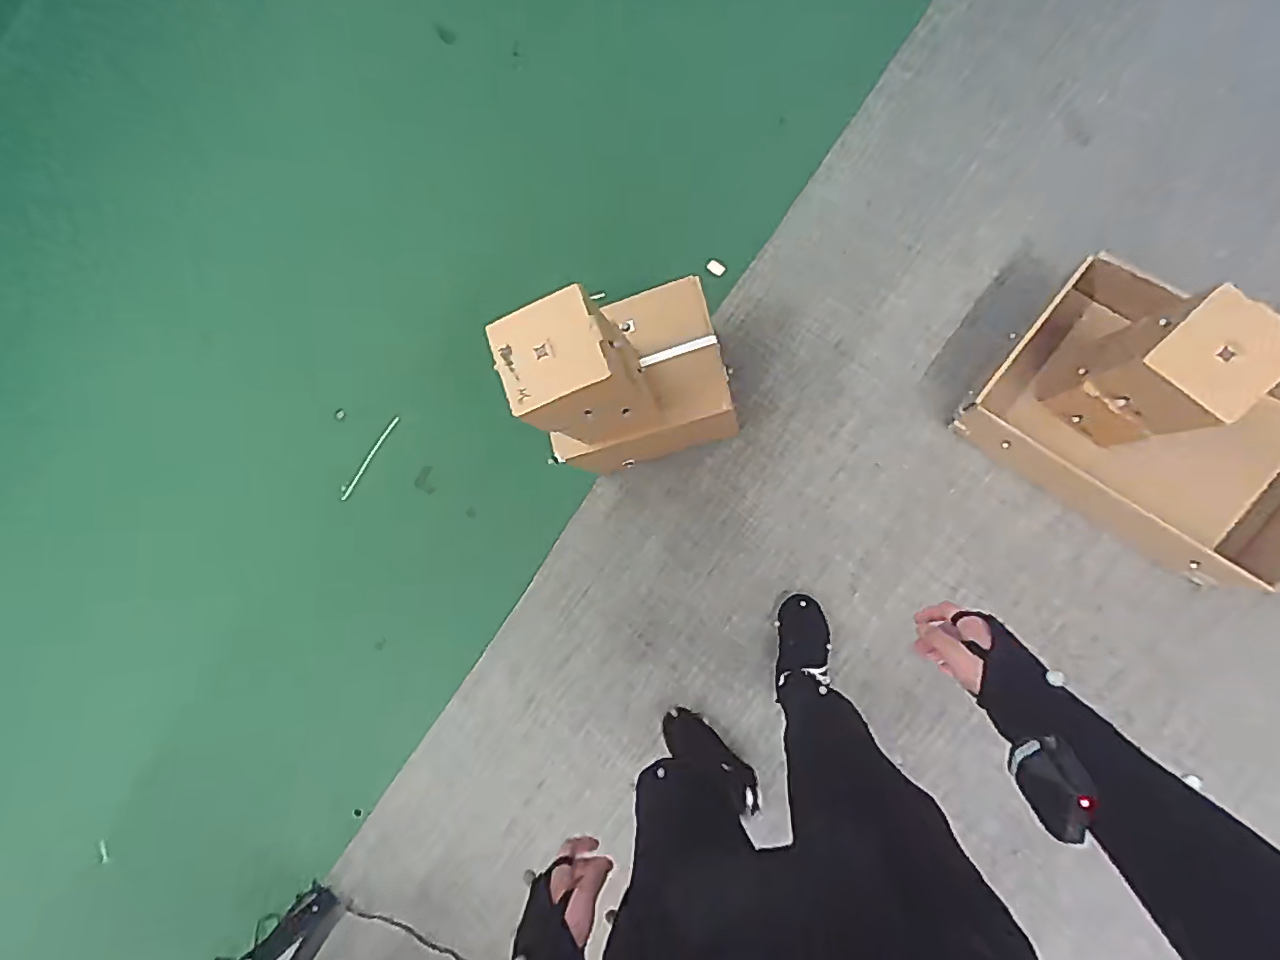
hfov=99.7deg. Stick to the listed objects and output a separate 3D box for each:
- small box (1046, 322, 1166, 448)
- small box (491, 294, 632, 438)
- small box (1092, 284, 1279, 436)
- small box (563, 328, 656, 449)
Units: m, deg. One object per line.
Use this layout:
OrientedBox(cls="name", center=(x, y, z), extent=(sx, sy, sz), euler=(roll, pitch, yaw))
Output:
OrientedBox(cls="small box", center=(0.994, -0.186, 1.108), extent=(0.168, 0.176, 0.179), euler=(40, 96, 11))
OrientedBox(cls="small box", center=(-0.124, -0.188, 0.942), extent=(0.179, 0.176, 0.168), euler=(-21, 80, 10))
OrientedBox(cls="small box", center=(0.964, -0.199, 0.948), extent=(0.168, 0.176, 0.179), euler=(45, 97, 11))
OrientedBox(cls="small box", center=(-0.076, -0.177, 1.098), extent=(0.179, 0.176, 0.168), euler=(-23, 80, 10))
